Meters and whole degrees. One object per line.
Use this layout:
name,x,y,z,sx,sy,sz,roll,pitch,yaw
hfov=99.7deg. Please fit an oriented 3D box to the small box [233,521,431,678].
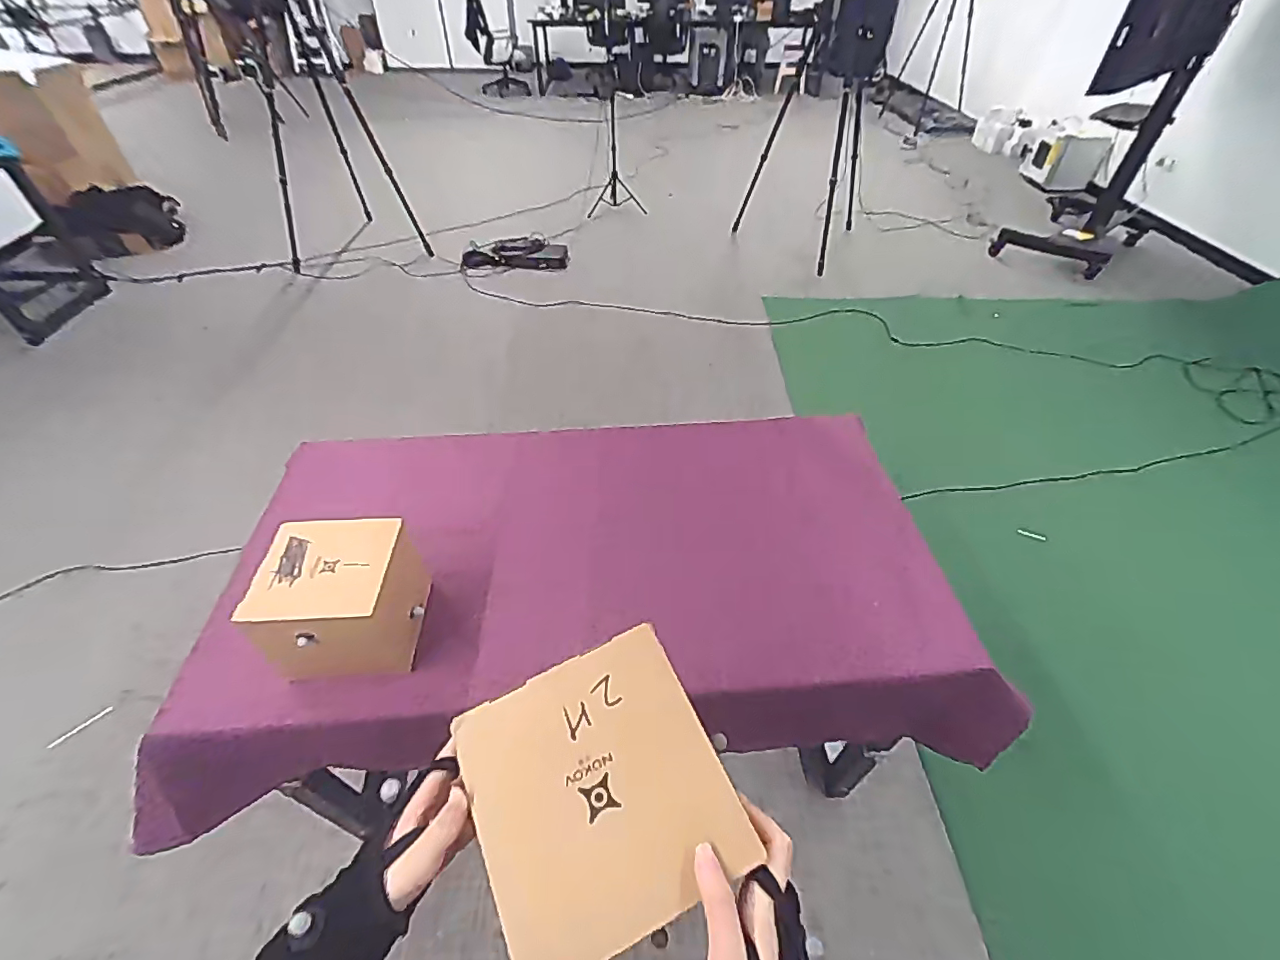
small box,-0.432,0.177,0.795,0.179,0.176,0.168,-2,45,-3
